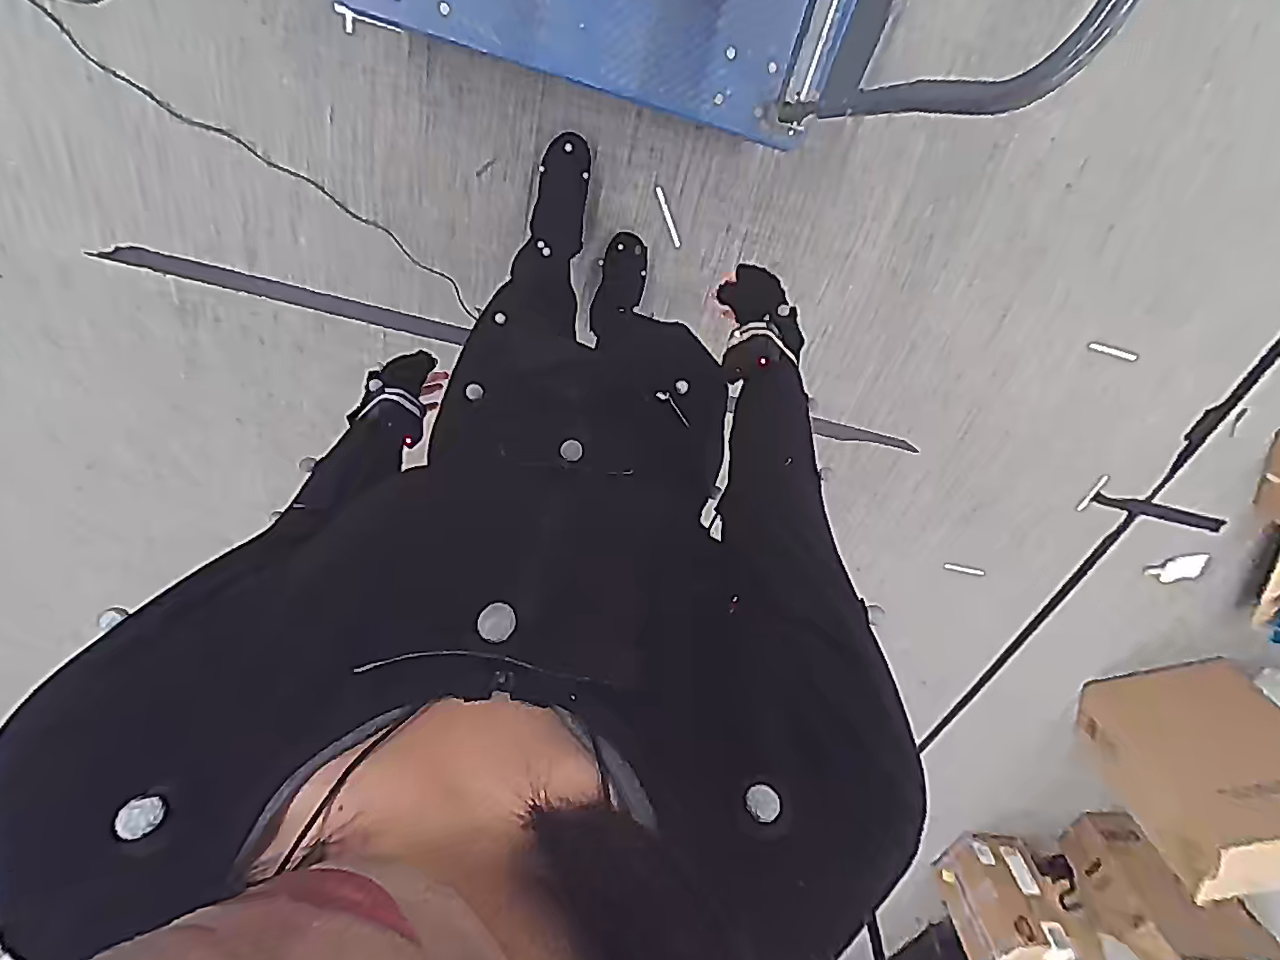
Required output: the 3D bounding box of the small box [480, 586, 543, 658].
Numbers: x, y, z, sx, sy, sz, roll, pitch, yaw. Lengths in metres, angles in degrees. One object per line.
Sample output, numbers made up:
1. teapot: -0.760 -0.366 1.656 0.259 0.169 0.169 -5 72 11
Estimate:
1. small box: -0.442 0.486 1.866 0.179 0.176 0.168 10 122 -9
